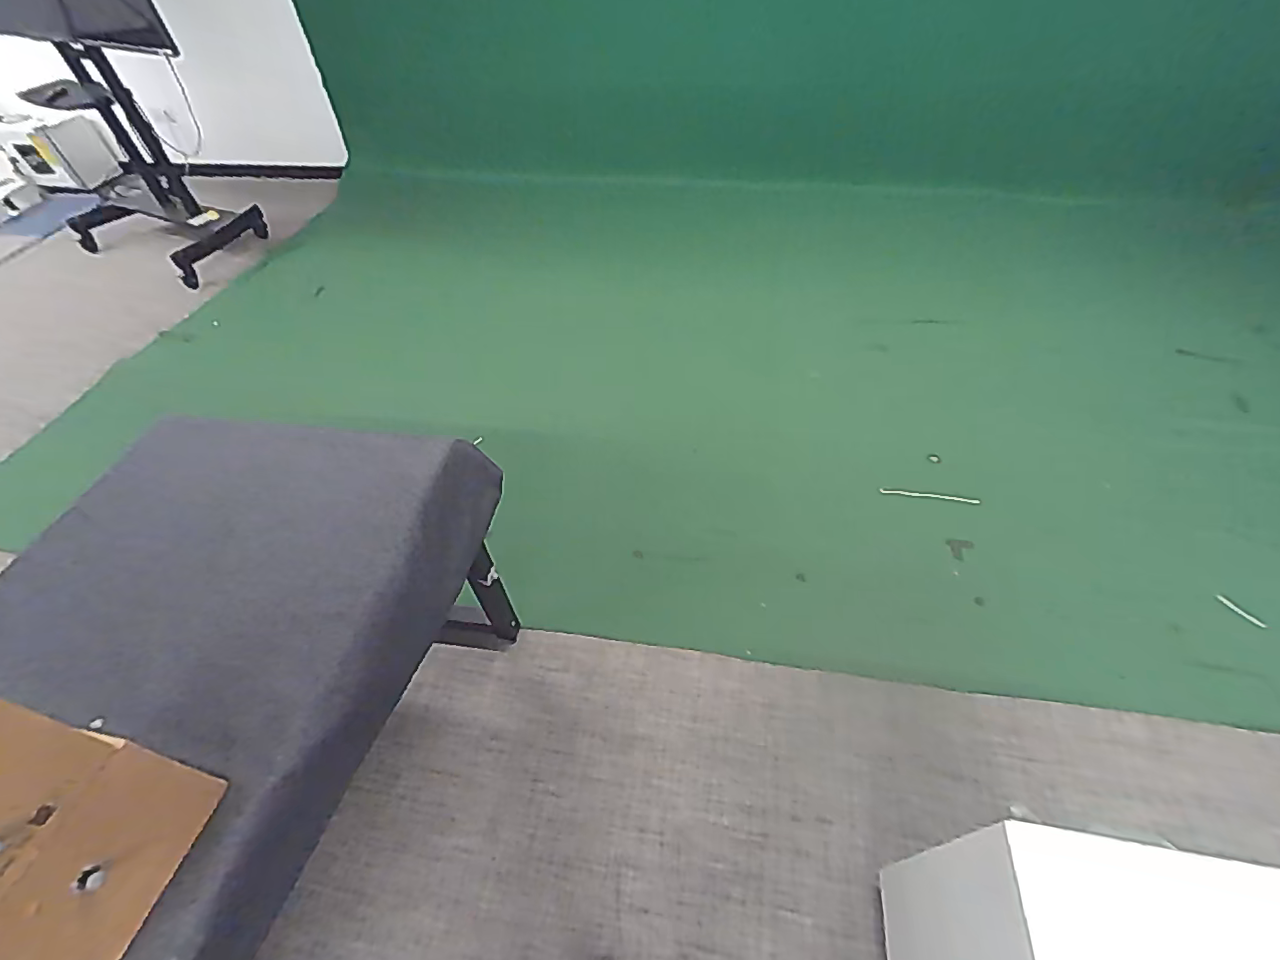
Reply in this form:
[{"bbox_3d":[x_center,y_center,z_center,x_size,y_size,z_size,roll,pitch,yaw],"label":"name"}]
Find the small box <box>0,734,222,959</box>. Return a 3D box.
[{"bbox_3d":[-0.582,0.354,0.539,0.168,0.176,0.179,7,50,10],"label":"small box"}]
